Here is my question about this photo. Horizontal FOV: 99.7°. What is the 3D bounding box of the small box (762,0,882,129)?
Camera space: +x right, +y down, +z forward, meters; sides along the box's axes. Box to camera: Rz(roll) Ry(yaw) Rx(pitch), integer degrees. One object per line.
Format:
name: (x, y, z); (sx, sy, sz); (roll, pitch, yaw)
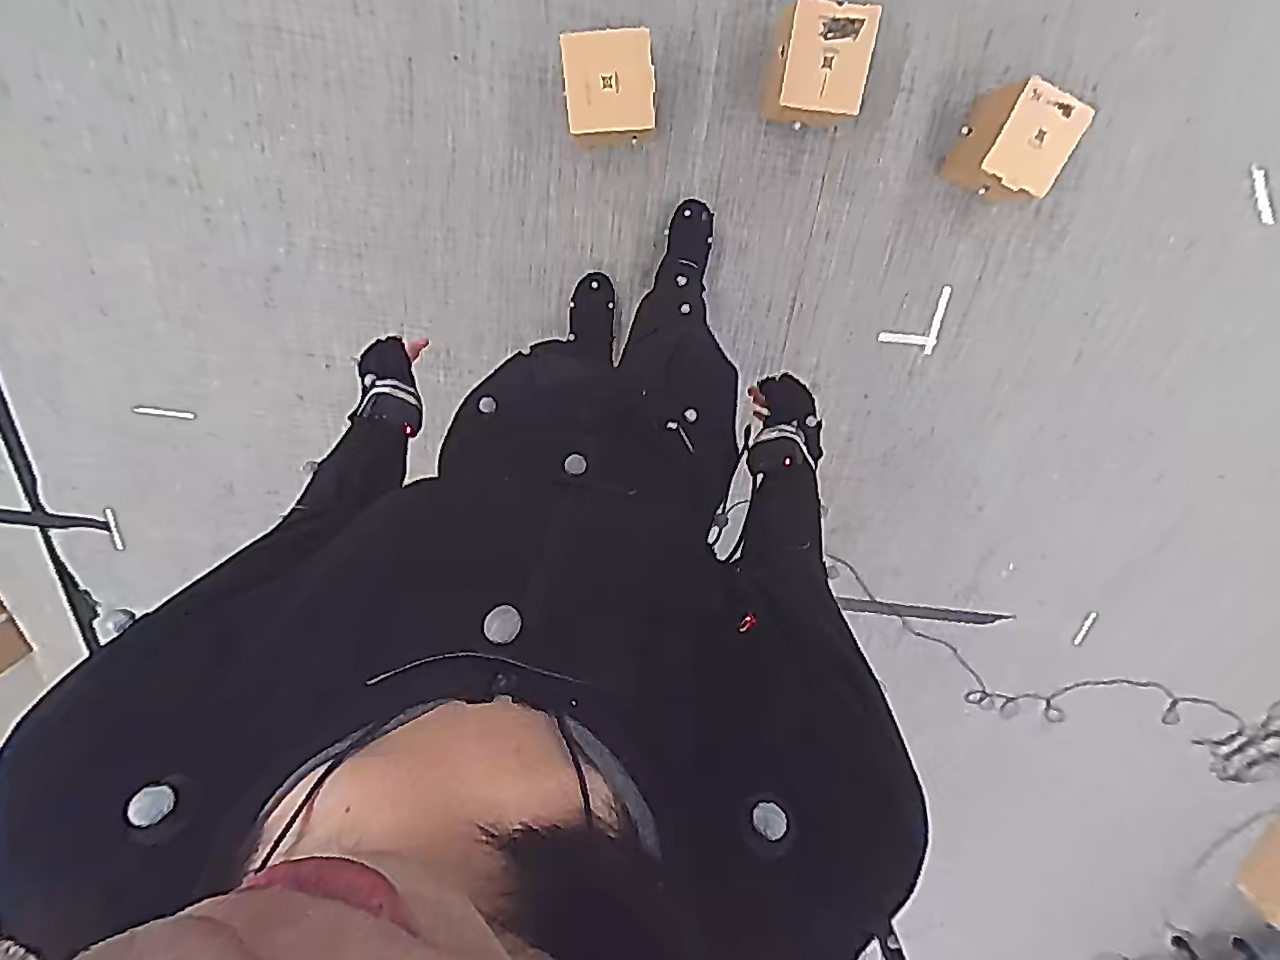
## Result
small box: (0.361, -0.846, 1.110); (0.168, 0.176, 0.179); (4, 115, -4)

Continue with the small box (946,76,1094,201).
small box: (0.810, -0.730, 1.181); (0.168, 0.176, 0.179); (19, 113, -11)

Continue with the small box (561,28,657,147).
small box: (-0.060, -0.802, 1.119); (0.179, 0.176, 0.168); (-4, 113, 1)
